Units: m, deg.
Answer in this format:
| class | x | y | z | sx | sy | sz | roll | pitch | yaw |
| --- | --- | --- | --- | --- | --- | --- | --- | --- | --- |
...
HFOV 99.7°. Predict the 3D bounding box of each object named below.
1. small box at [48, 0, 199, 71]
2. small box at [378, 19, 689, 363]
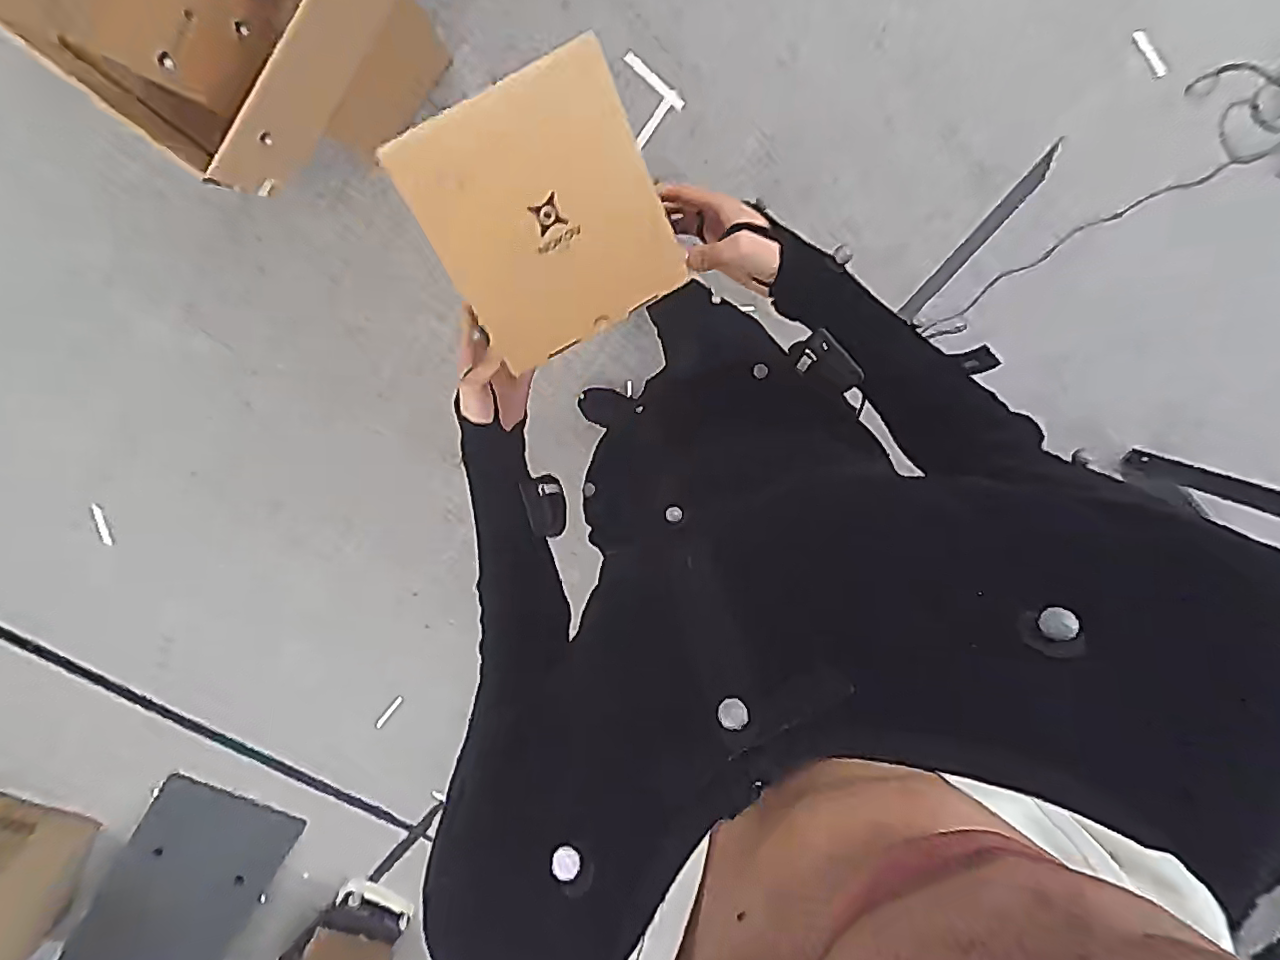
| class | x | y | z | sx | sy | sz | roll | pitch | yaw |
| --- | --- | --- | --- | --- | --- | --- | --- | --- | --- |
| small box | -0.710 | -0.665 | 0.681 | 0.179 | 0.176 | 0.168 | 34 | 104 | -12 |
| small box | -0.087 | -0.229 | 0.459 | 0.168 | 0.176 | 0.179 | -30 | 120 | -1 |
